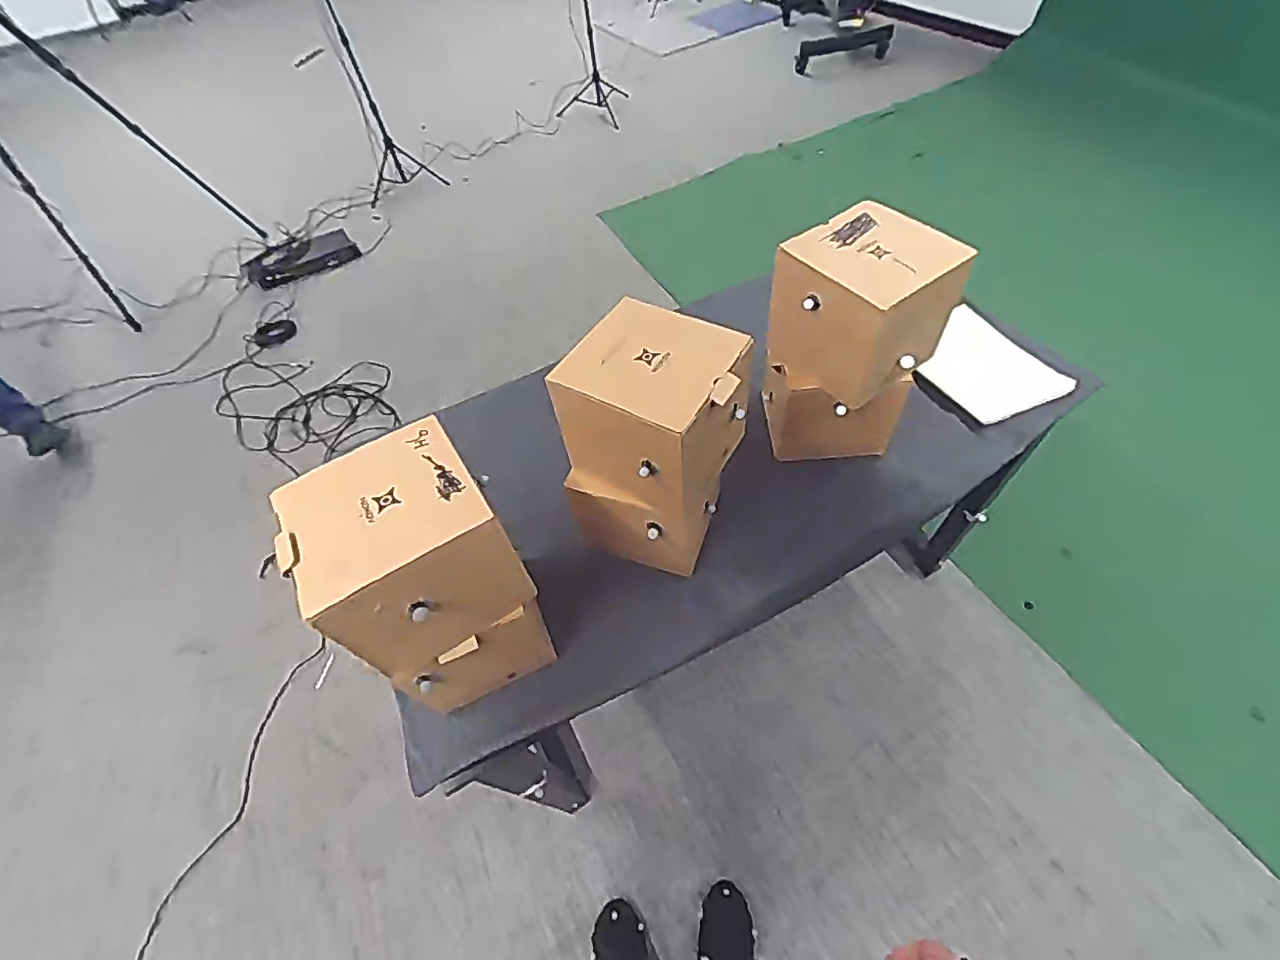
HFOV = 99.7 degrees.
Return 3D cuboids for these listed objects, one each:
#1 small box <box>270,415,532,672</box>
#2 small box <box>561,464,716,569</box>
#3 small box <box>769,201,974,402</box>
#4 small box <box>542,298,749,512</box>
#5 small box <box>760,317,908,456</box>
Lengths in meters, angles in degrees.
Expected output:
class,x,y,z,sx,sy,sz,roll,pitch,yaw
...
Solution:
class,x,y,z,sx,sy,sz,roll,pitch,yaw
small box,-0.241,0.071,0.571,0.179,0.176,0.168,-31,56,-15
small box,0.010,0.010,0.789,0.179,0.176,0.168,14,57,15
small box,0.294,-0.239,0.733,0.168,0.176,0.179,-32,58,-15
small box,0.014,-0.085,0.657,0.179,0.176,0.168,24,59,22
small box,0.299,-0.154,0.875,0.179,0.176,0.168,-4,54,4
